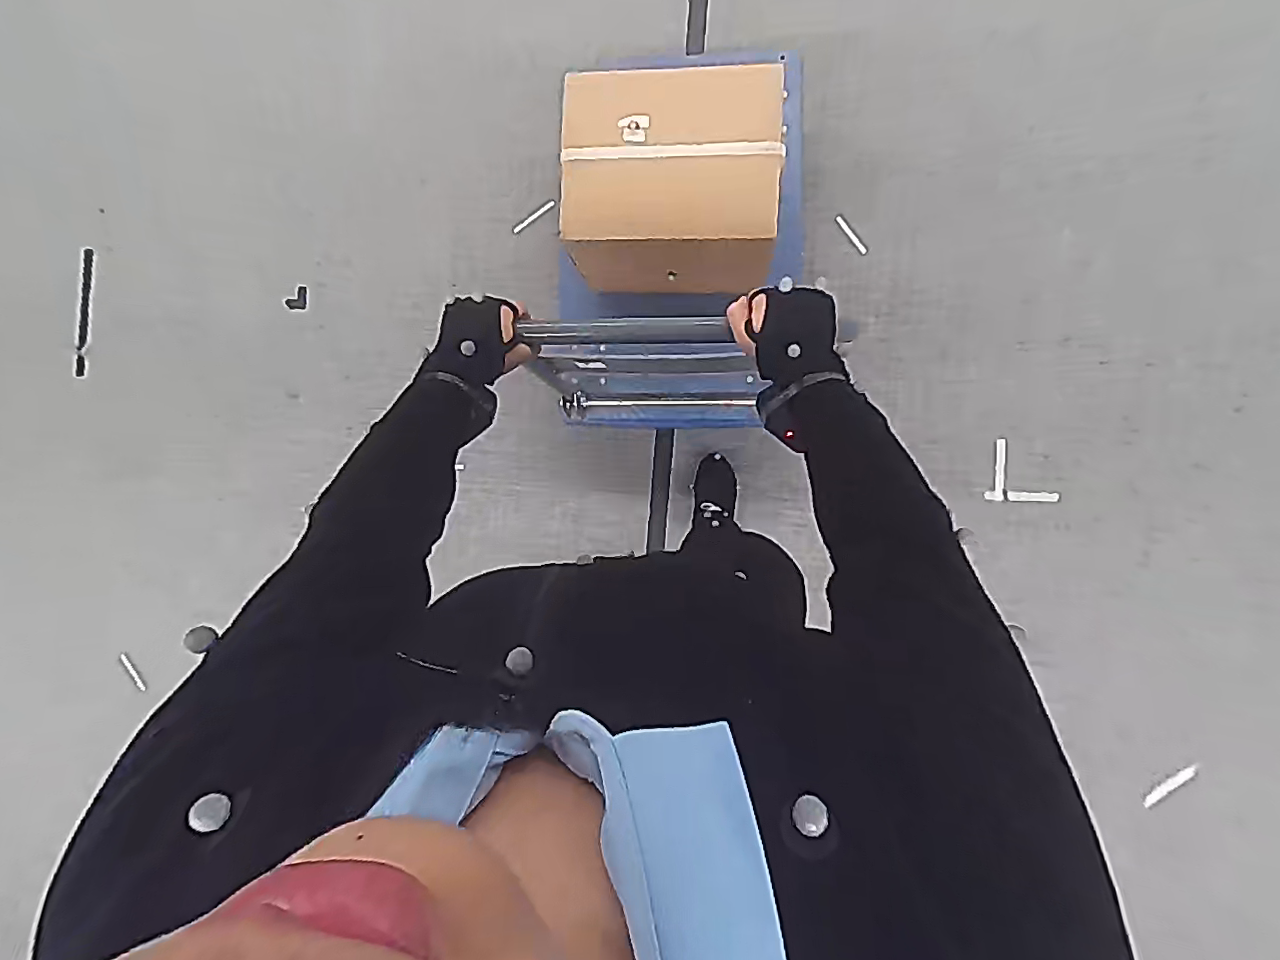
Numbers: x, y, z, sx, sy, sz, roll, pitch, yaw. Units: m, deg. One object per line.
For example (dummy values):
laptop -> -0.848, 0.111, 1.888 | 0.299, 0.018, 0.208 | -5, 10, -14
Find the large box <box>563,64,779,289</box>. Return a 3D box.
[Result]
large box -> 0.074, -0.610, 1.152 | 0.408, 0.320, 0.320 | 3, 90, 8
